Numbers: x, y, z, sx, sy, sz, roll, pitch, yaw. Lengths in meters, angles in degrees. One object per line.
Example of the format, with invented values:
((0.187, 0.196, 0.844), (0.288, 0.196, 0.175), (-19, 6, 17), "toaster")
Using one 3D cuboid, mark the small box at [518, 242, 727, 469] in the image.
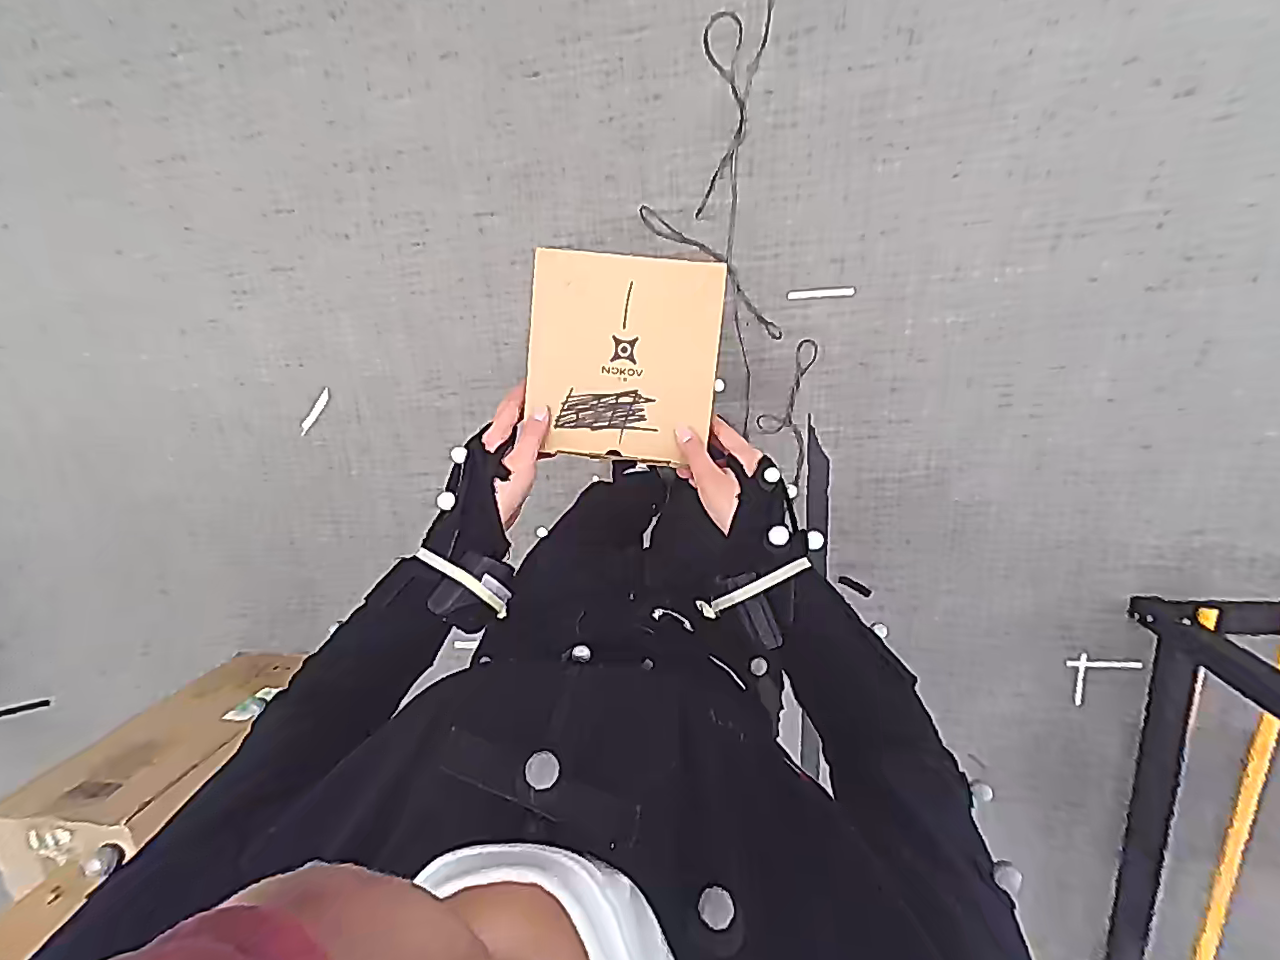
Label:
((-0.014, -0.113, 0.534), (0.168, 0.176, 0.179), (6, 97, 1), "small box")
